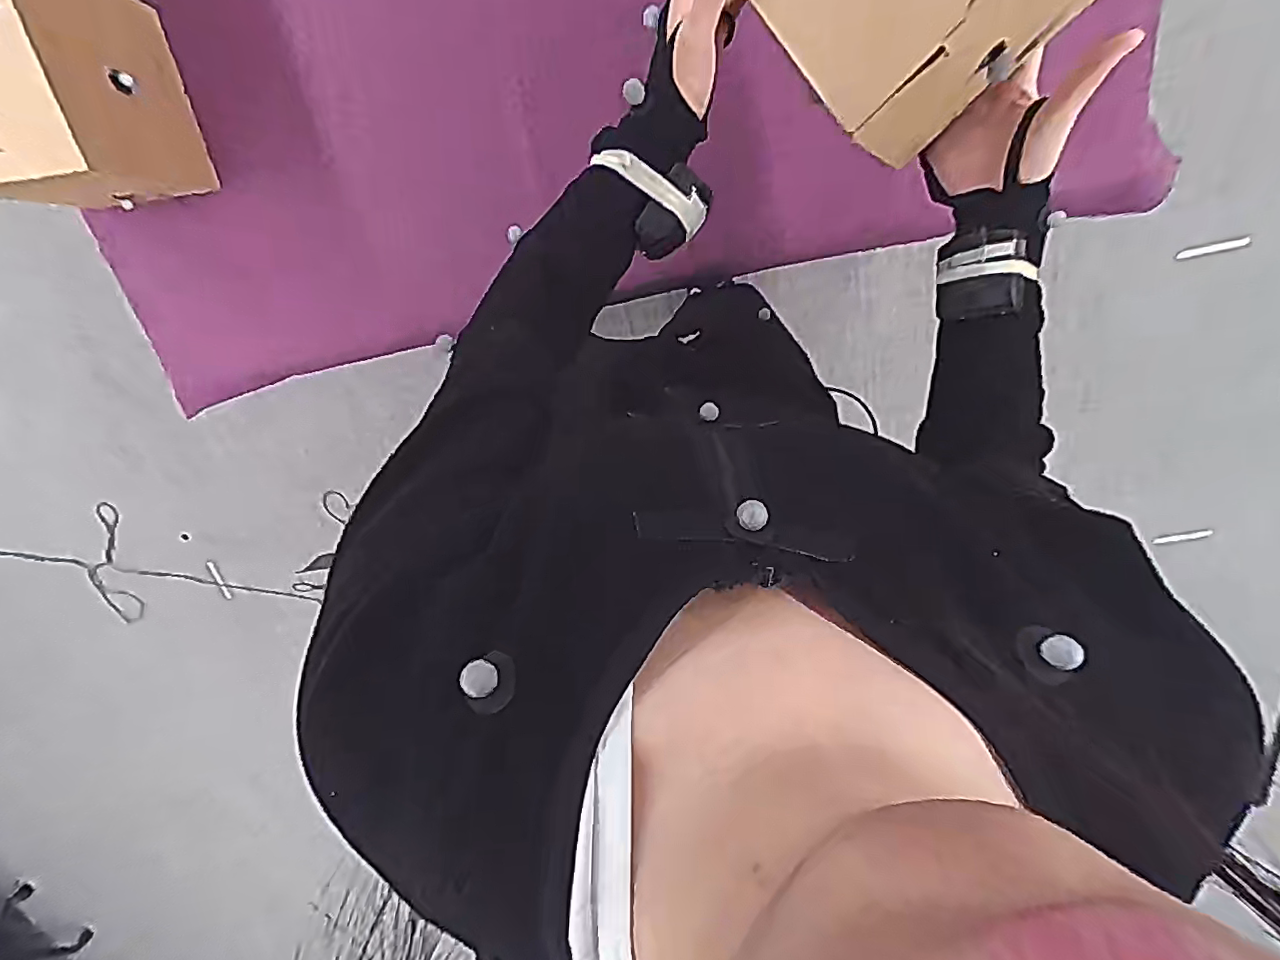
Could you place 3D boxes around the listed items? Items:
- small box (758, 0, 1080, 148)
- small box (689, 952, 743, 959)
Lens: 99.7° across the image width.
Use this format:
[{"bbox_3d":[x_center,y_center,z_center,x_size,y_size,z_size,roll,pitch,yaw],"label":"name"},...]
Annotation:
[{"bbox_3d":[0.182,-0.352,0.355,0.168,0.176,0.179,-34,88,39],"label":"small box"},{"bbox_3d":[0.246,1.550,1.612,0.168,0.176,0.179,-17,112,10],"label":"small box"}]
